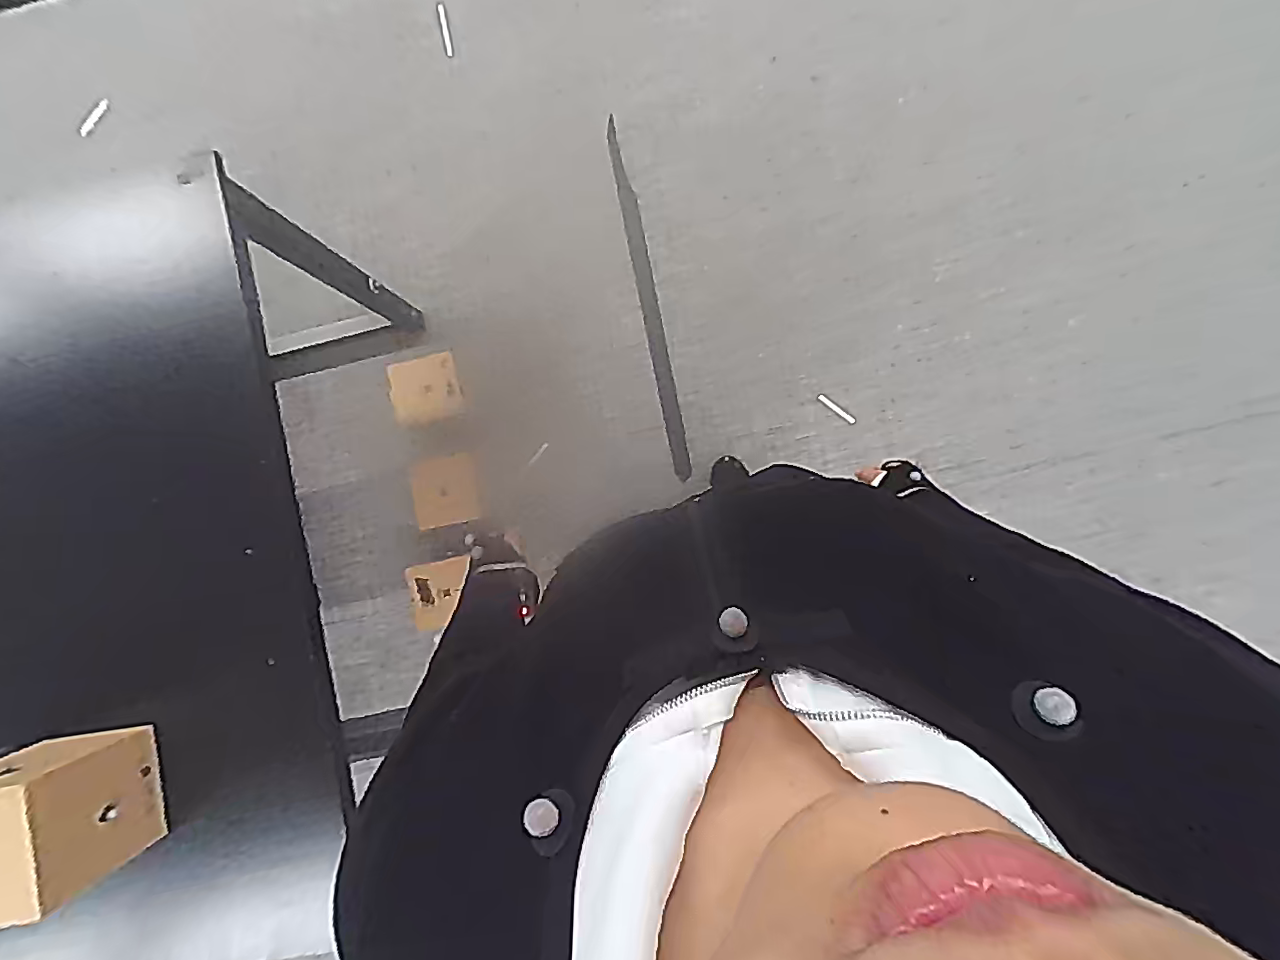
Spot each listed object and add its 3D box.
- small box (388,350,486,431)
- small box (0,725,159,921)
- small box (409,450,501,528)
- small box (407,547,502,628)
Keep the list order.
[{"bbox_3d":[-0.542,-0.234,1.459,0.179,0.176,0.168,-13,89,3],"label":"small box"},{"bbox_3d":[-0.804,0.454,0.734,0.179,0.176,0.168,-9,88,3],"label":"small box"},{"bbox_3d":[-0.491,0.024,1.454,0.168,0.176,0.179,-13,89,4],"label":"small box"},{"bbox_3d":[-0.491,0.282,1.449,0.179,0.176,0.168,-13,89,2],"label":"small box"}]
